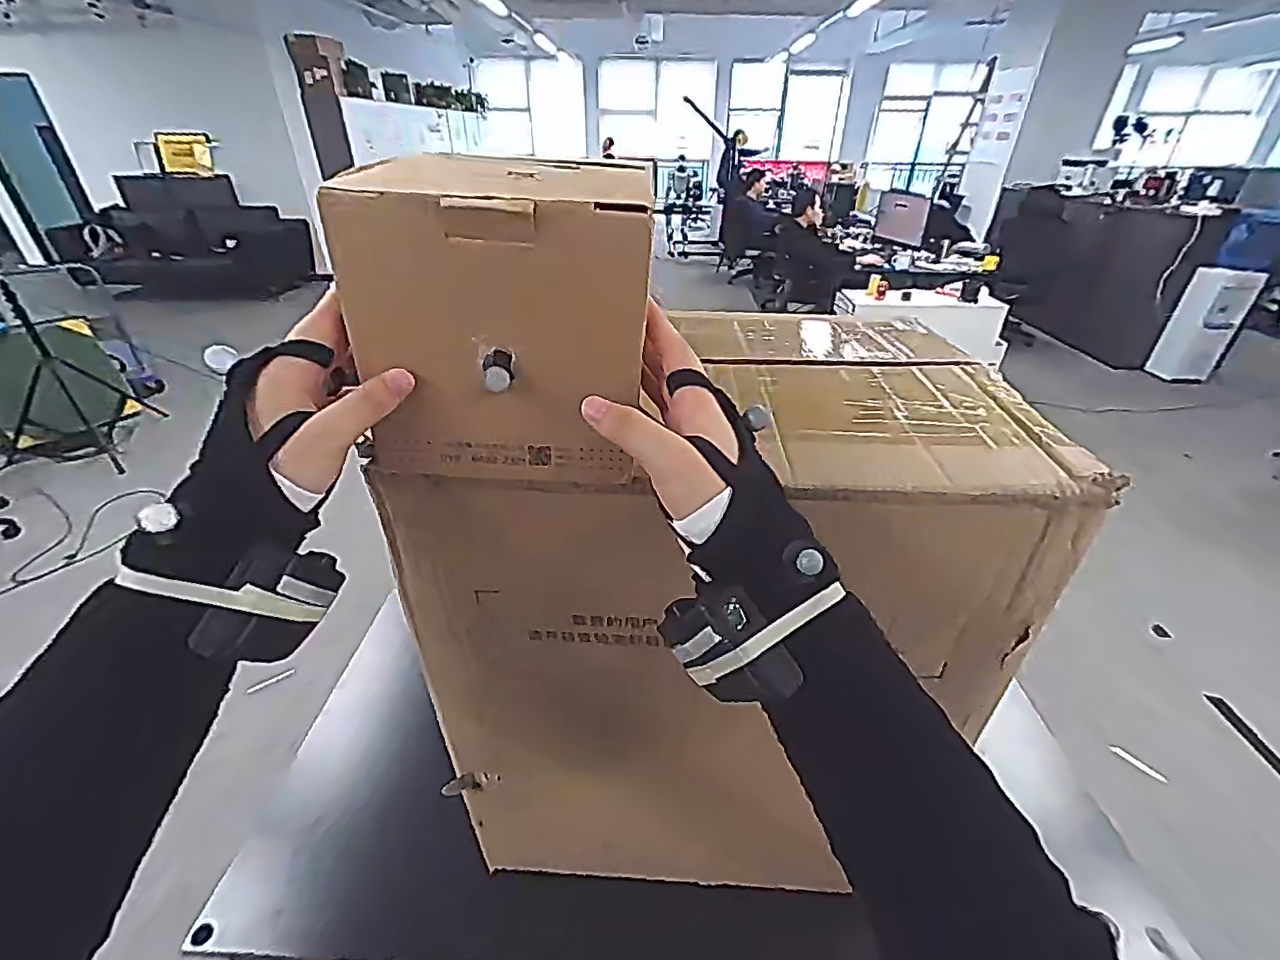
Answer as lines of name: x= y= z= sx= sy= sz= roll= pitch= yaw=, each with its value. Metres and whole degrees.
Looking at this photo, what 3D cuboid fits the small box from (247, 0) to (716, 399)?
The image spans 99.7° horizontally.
small box: x=-0.059 y=-0.156 z=0.297 sx=0.168 sy=0.176 sz=0.179 roll=2 pitch=36 yaw=-4
